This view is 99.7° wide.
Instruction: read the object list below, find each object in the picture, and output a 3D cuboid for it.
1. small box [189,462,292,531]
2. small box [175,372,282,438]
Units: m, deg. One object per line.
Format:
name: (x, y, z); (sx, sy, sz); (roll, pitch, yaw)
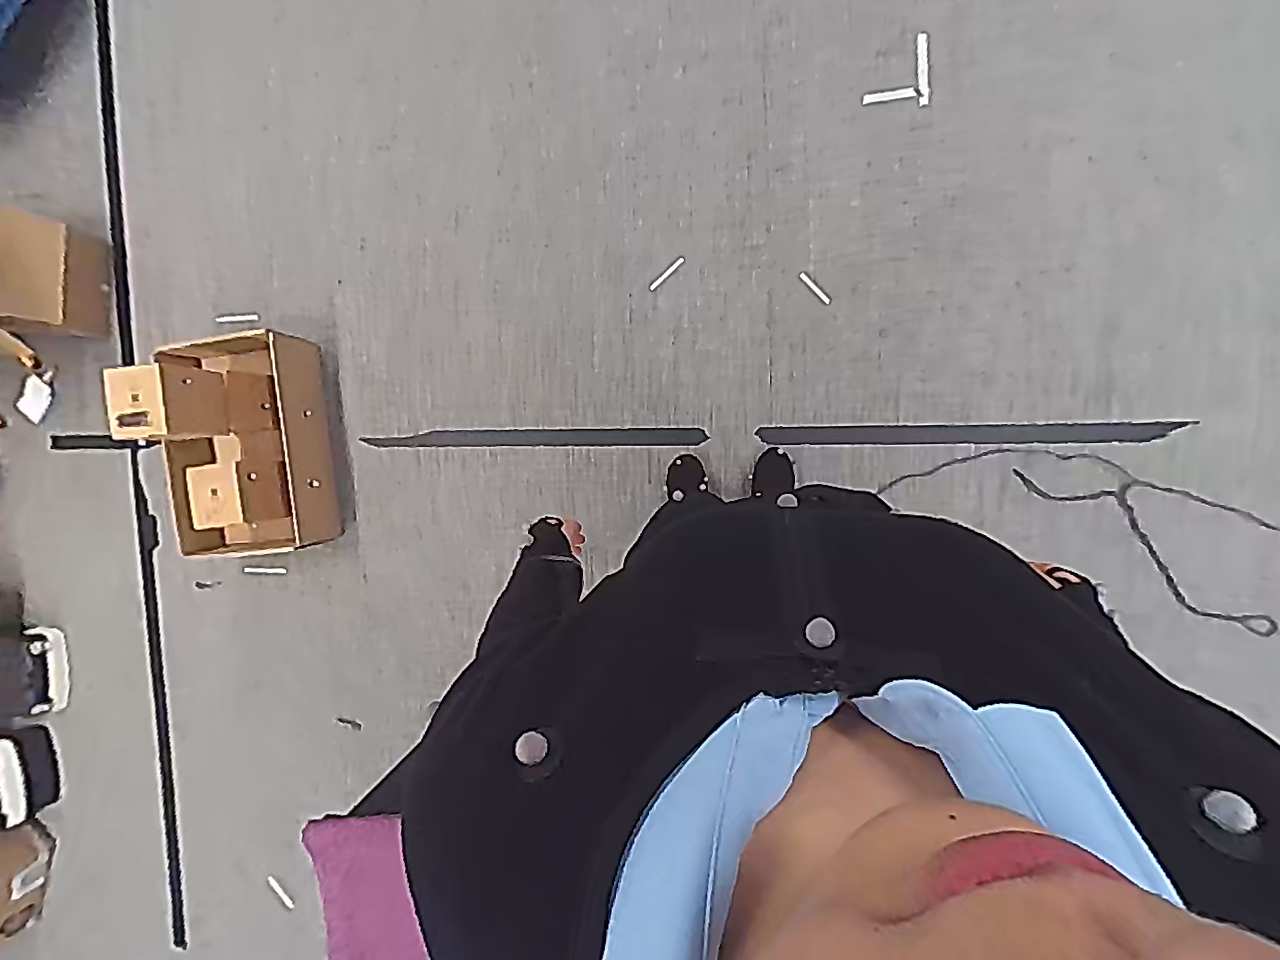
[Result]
small box: (-1.160, 0.045, 1.579); (0.168, 0.176, 0.179); (-8, 91, 10)
small box: (-1.188, -0.213, 1.571); (0.179, 0.176, 0.168); (-6, 93, 9)
